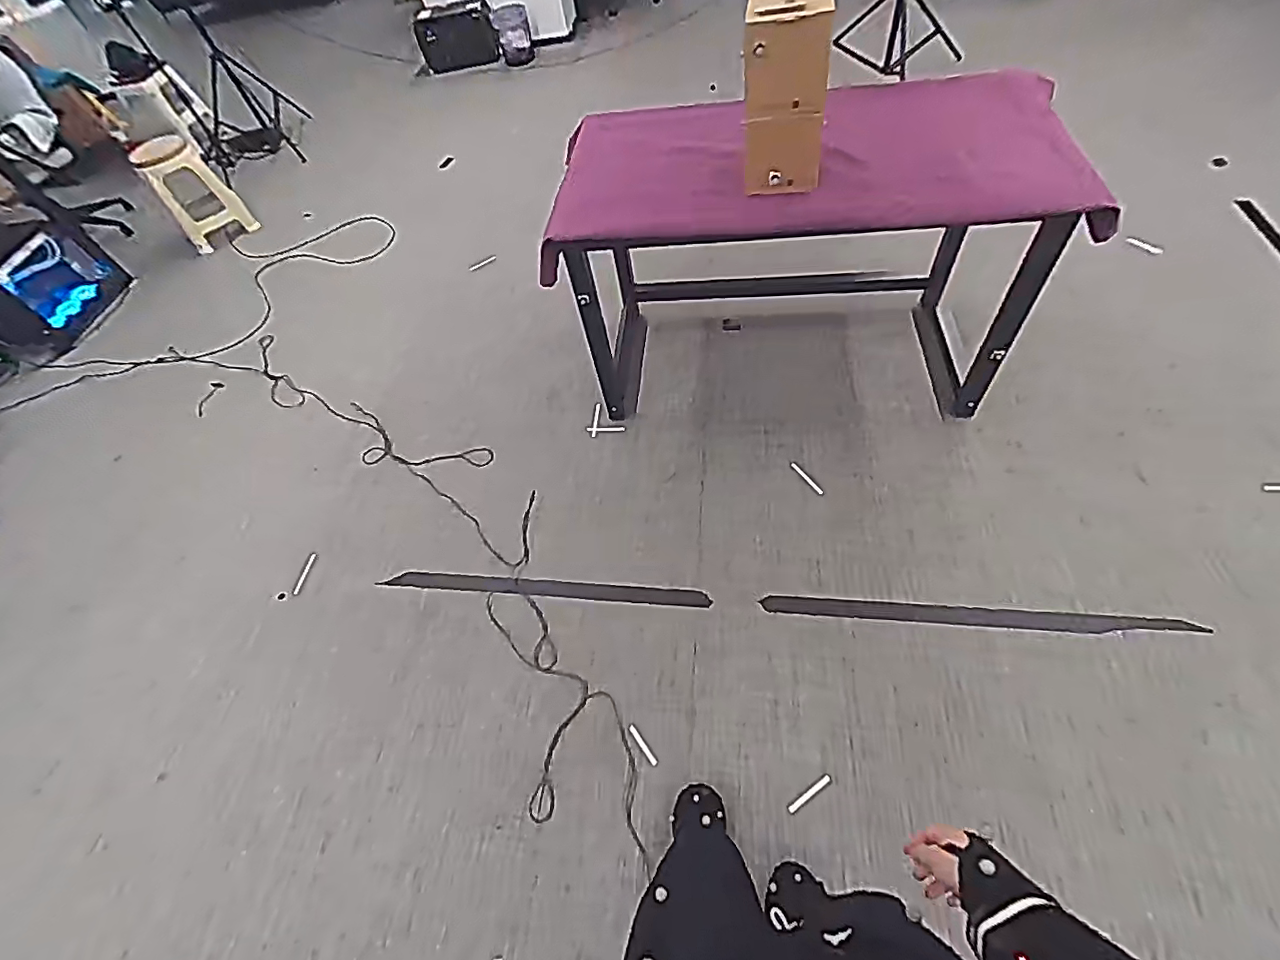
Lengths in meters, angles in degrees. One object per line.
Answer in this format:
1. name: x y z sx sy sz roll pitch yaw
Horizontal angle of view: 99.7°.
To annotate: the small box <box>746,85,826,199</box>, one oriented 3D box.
1. small box: 0.335 -0.782 1.258 0.168 0.176 0.179 2 57 12
